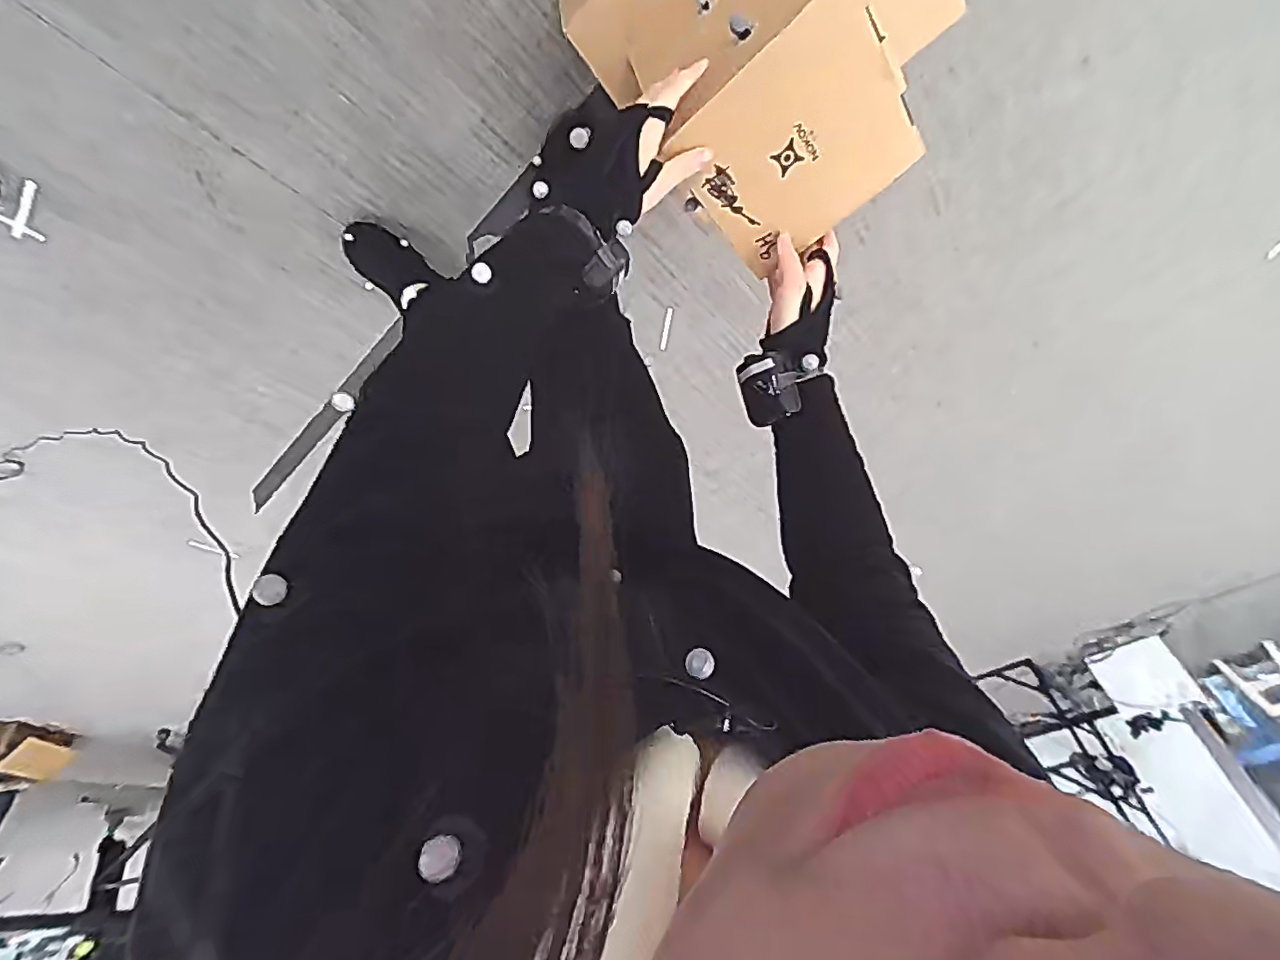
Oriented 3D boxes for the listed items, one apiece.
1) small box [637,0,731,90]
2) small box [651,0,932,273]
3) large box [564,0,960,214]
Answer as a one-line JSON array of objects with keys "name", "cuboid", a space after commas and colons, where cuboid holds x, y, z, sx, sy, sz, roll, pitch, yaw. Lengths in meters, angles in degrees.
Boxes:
[{"name": "small box", "cuboid": [0.113, -0.469, 0.615, 0.179, 0.176, 0.168, -31, 133, 25]}, {"name": "small box", "cuboid": [0.129, -0.344, 0.510, 0.179, 0.176, 0.168, -34, 131, 24]}, {"name": "large box", "cuboid": [0.140, -0.681, 0.752, 0.408, 0.320, 0.320, -32, 135, 24]}]
